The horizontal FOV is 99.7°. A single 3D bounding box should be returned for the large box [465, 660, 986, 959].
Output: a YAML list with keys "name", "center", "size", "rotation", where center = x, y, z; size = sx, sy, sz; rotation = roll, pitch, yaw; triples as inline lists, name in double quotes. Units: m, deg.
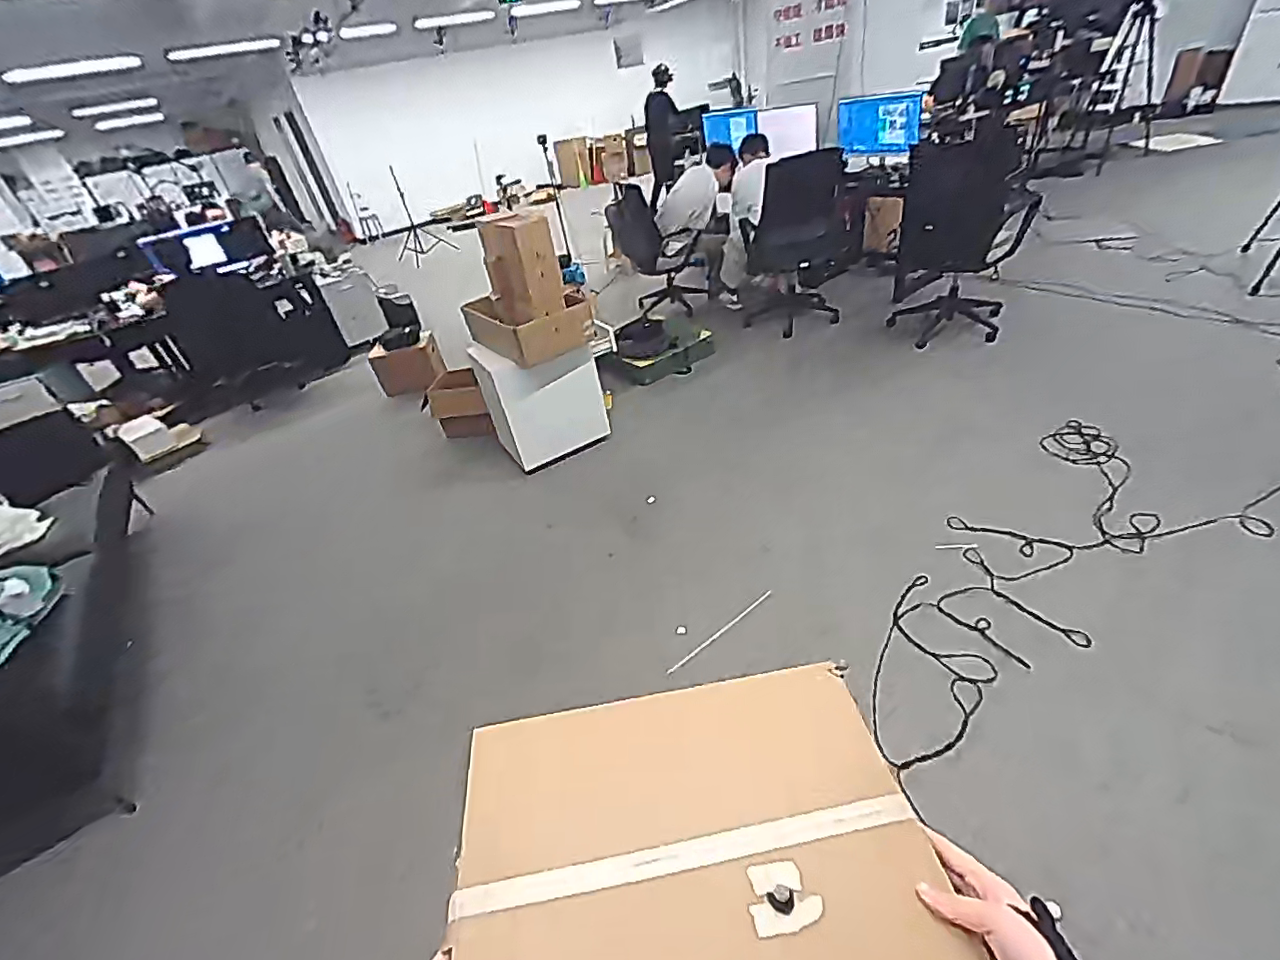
- name: "large box"
  center: [0.056, 0.445, 0.572]
  size: [0.408, 0.320, 0.320]
  rotation: [-8, 37, -5]
